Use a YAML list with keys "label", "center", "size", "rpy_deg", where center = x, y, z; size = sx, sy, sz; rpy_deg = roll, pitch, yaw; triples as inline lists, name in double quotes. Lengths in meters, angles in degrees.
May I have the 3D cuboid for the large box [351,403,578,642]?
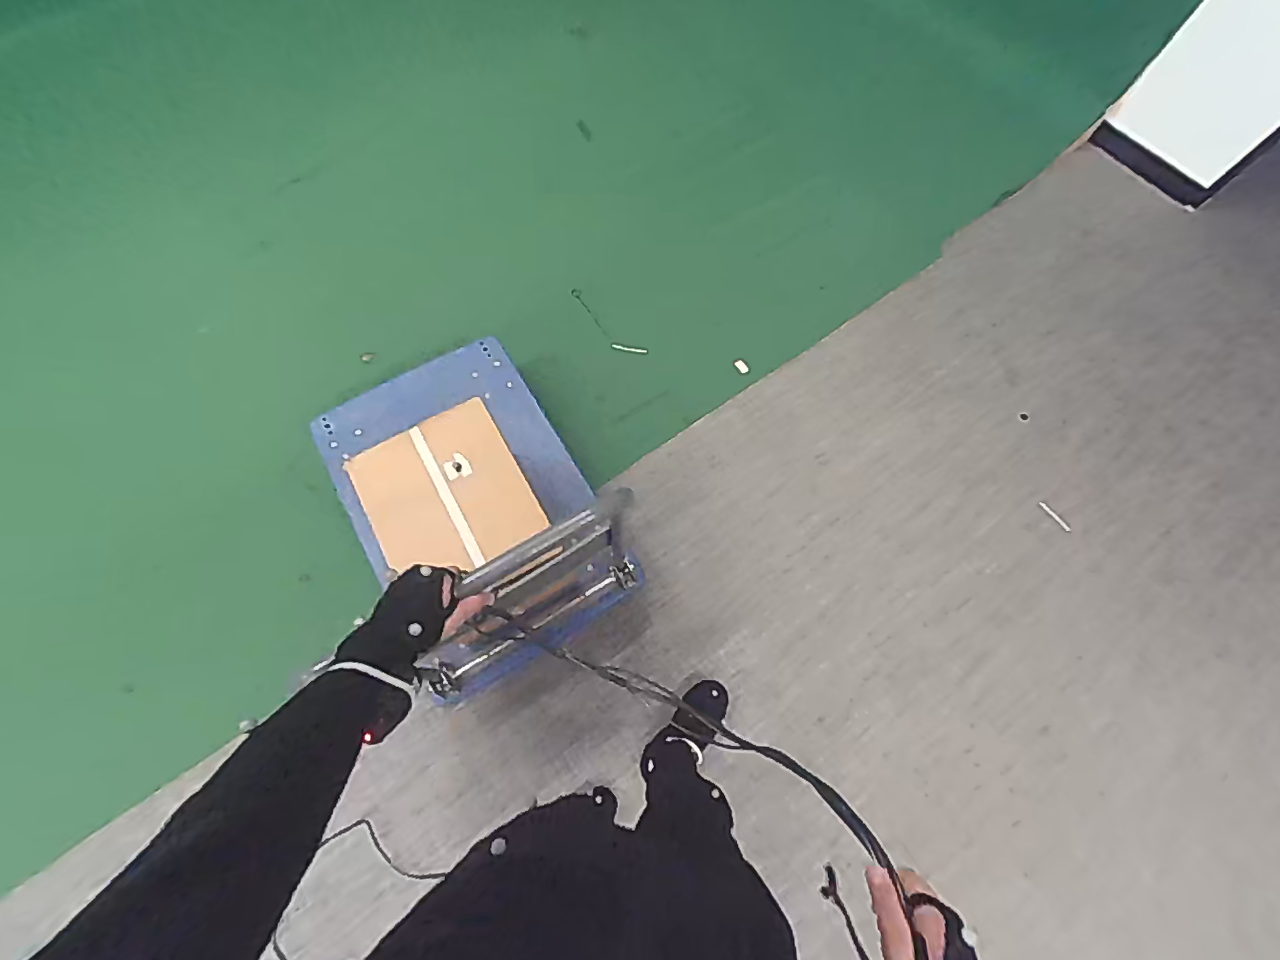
- label: "large box"
  center: [-0.382, 0.110, 1.252]
  size: [0.320, 0.320, 0.408]
  rpy_deg: [-28, 71, -12]
